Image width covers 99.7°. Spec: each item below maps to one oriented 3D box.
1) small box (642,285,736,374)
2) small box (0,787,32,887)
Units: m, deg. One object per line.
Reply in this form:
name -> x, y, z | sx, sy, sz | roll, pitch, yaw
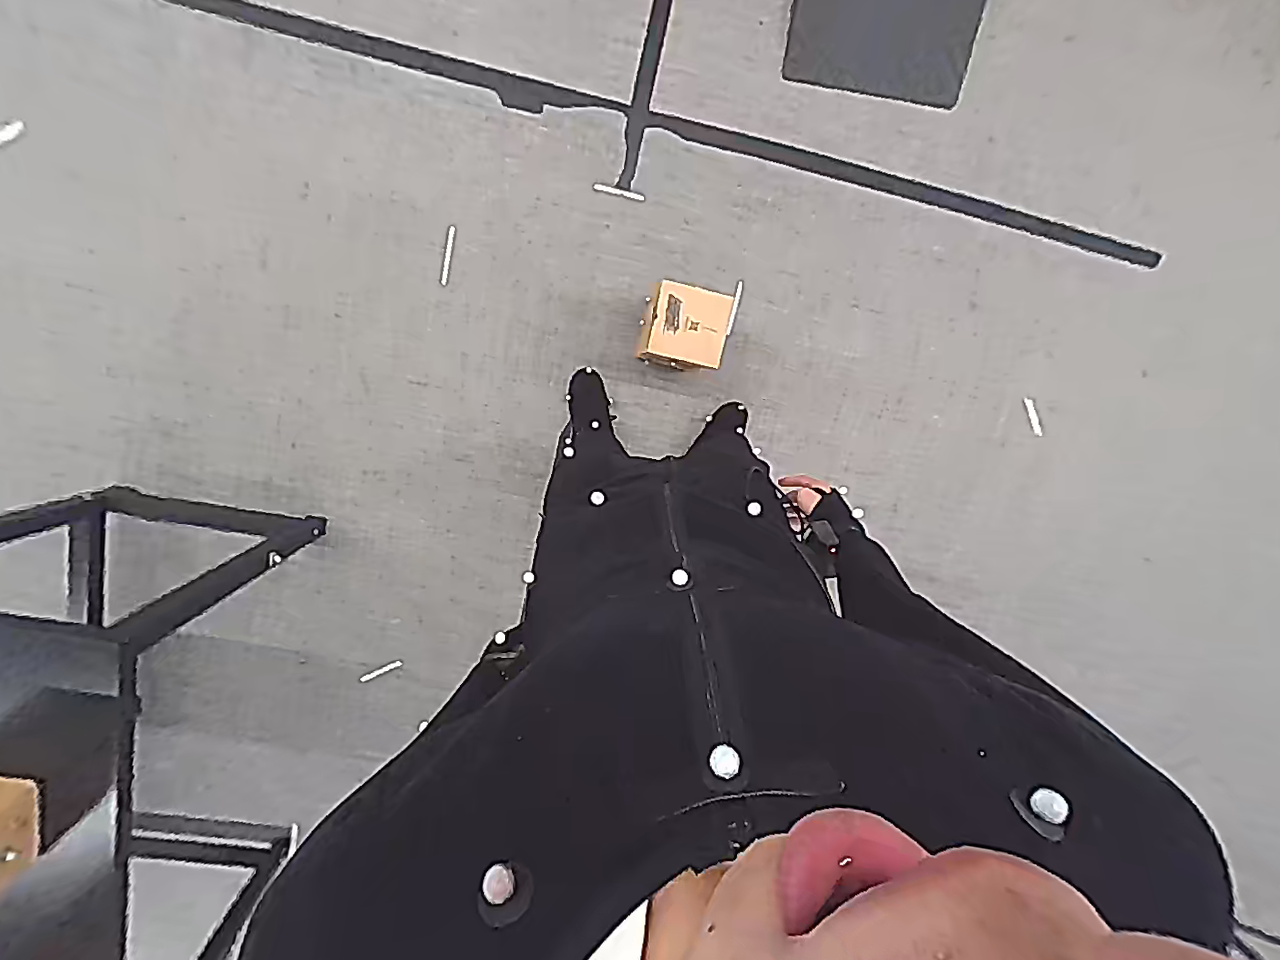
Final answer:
small box -> 0.108, -0.355, 1.302 | 0.179, 0.176, 0.168 | 12, 100, -8
small box -> -1.113, 0.592, 0.827 | 0.179, 0.176, 0.168 | 11, 101, -7
